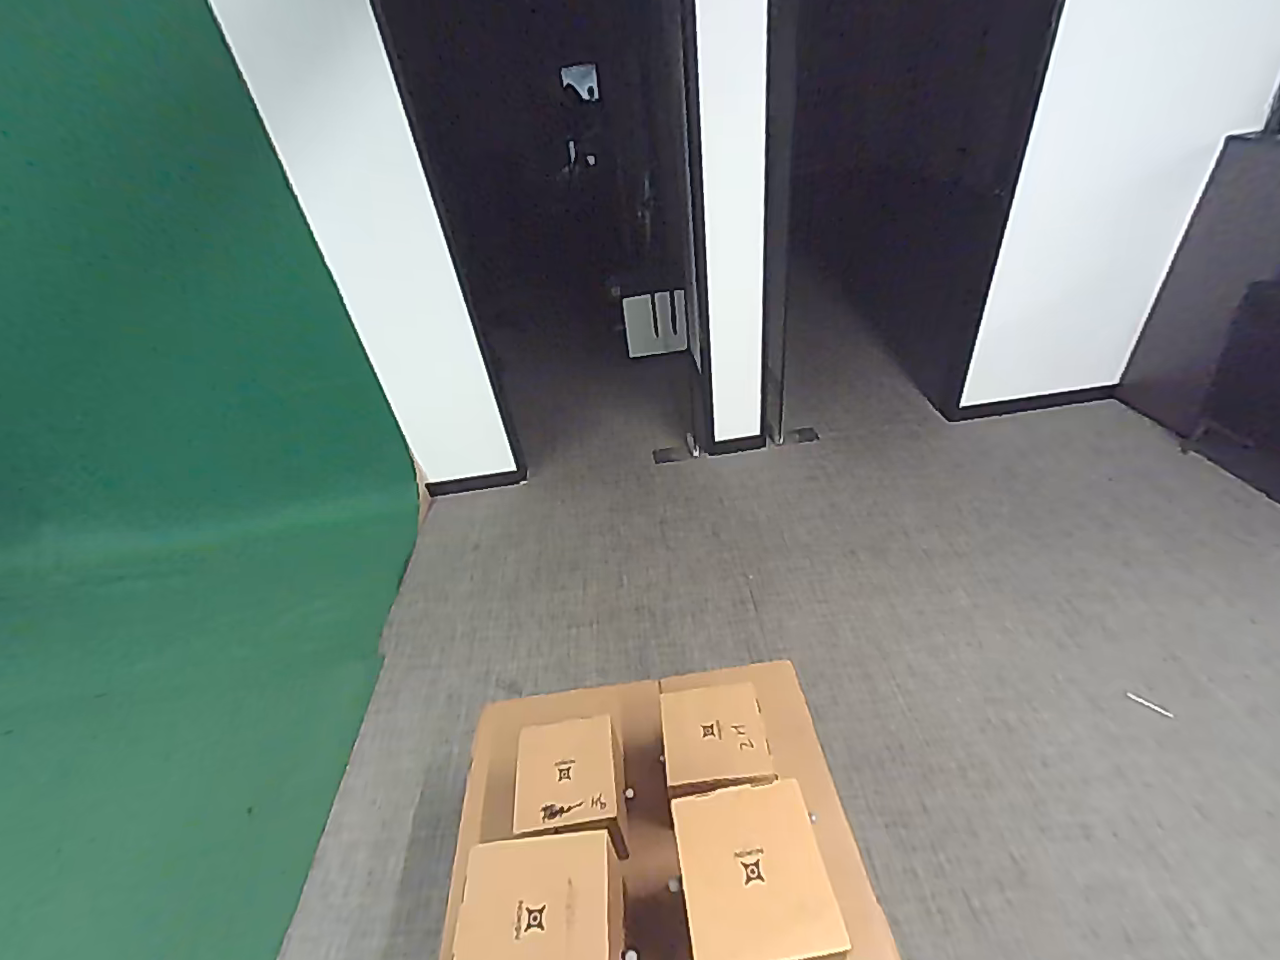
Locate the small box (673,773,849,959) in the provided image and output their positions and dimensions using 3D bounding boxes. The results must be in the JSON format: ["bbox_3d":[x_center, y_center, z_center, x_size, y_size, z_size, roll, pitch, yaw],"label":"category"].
[{"bbox_3d":[0.142,0.502,0.670,0.168,0.176,0.179,-11,36,0],"label":"small box"}]

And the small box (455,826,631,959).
[{"bbox_3d":[-0.108,0.553,0.659,0.179,0.176,0.168,-7,38,2],"label":"small box"}]

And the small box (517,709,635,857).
[{"bbox_3d":[-0.107,0.538,0.948,0.168,0.176,0.179,-11,36,1],"label":"small box"}]
